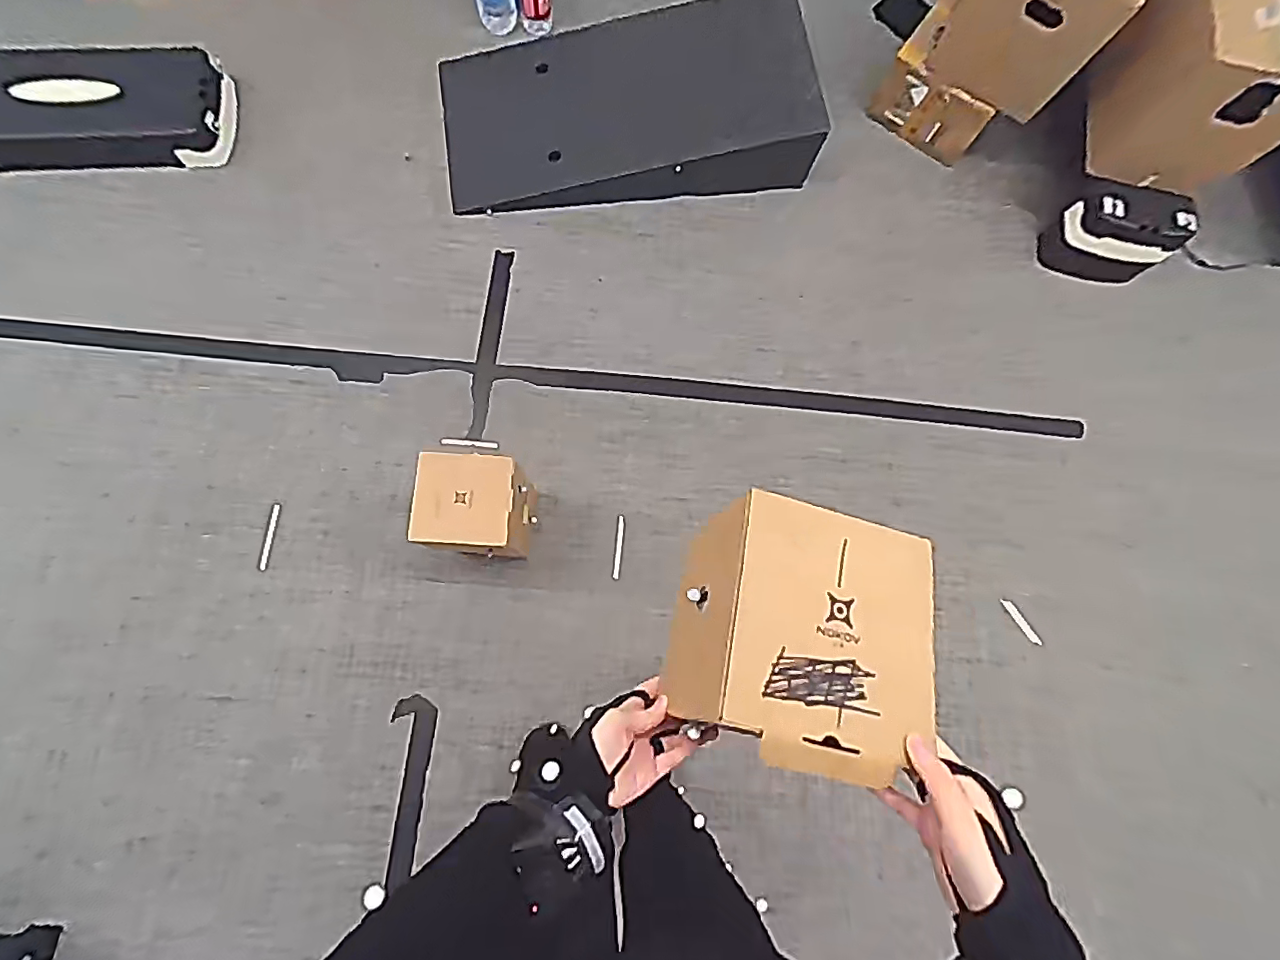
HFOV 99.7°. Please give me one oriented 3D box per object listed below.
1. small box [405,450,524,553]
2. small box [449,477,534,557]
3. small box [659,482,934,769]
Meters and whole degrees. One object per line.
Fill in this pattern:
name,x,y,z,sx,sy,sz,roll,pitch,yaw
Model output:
small box,-0.323,0.048,1.035,0.179,0.176,0.168,4,78,-3
small box,-0.335,0.079,1.196,0.179,0.176,0.168,6,78,-4
small box,0.123,0.129,0.469,0.168,0.176,0.179,17,65,-8
